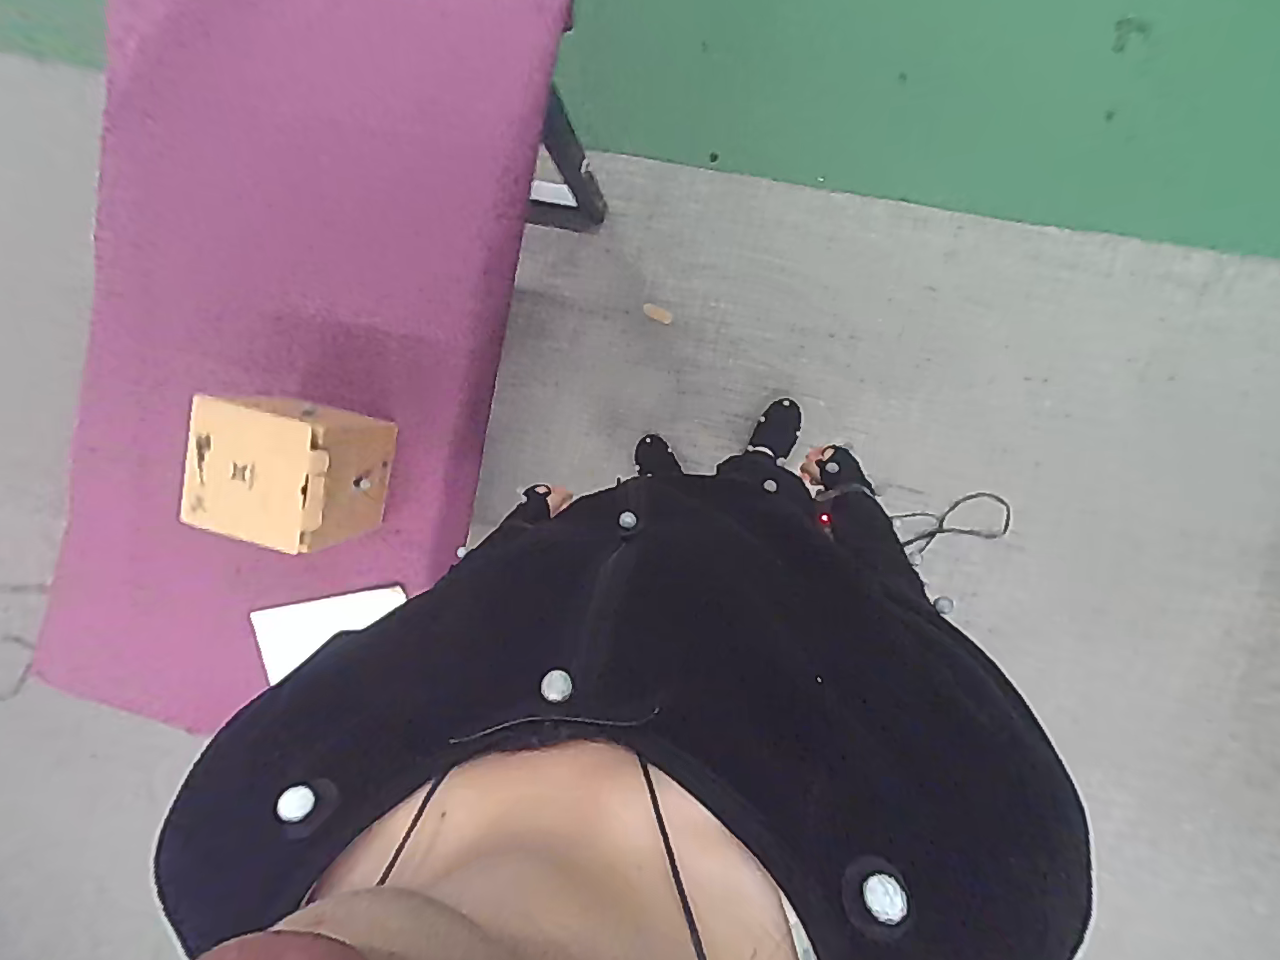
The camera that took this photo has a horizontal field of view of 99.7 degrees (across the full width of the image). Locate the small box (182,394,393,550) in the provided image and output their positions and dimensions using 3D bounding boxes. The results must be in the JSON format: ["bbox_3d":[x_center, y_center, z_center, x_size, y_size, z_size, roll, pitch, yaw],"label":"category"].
[{"bbox_3d":[-0.474,-0.019,0.750,0.179,0.176,0.168,13,97,4],"label":"small box"}]
